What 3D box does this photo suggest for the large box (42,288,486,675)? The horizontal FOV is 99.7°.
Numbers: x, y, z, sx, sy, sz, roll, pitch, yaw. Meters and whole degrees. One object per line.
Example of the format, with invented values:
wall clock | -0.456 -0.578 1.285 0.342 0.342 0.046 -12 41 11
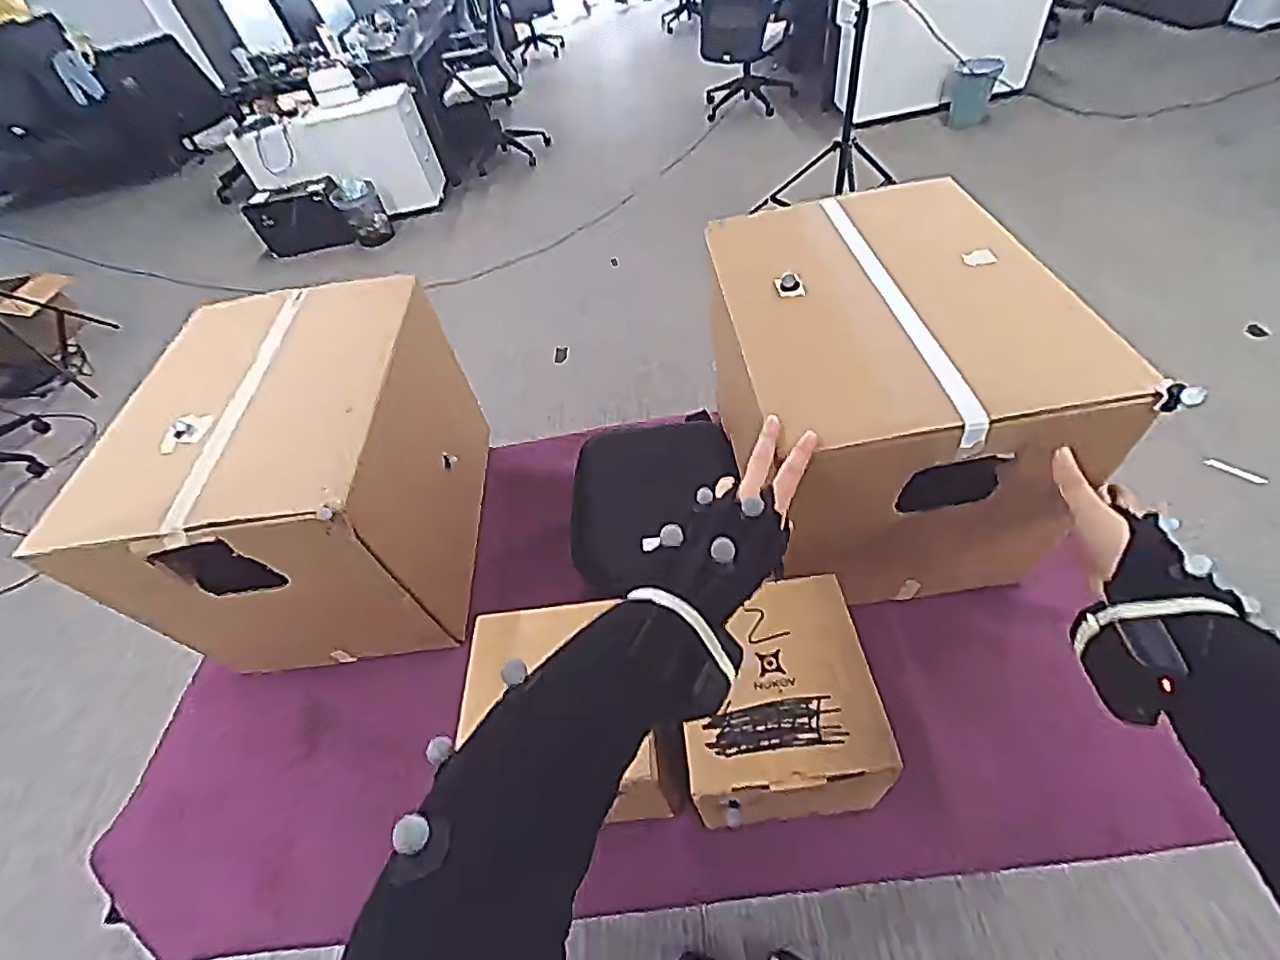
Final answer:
large box | -0.415 0.002 0.738 0.320 0.320 0.408 -9 52 2
